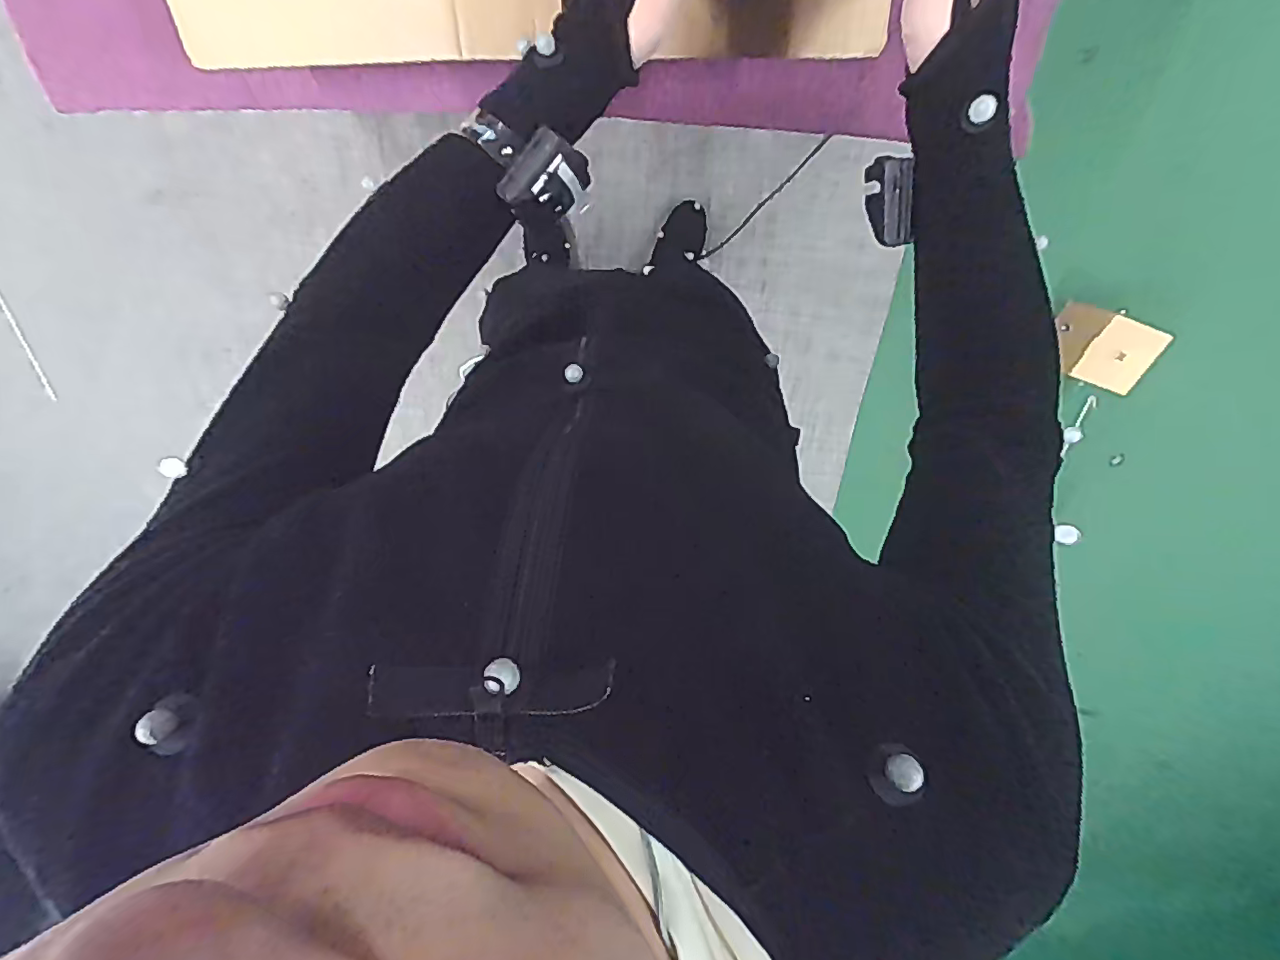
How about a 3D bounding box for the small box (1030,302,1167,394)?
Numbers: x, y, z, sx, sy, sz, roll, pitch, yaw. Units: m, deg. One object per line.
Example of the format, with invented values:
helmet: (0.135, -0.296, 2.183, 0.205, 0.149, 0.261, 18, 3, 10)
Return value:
small box: (1.196, -0.354, 1.426, 0.179, 0.176, 0.168, 17, 120, -7)
